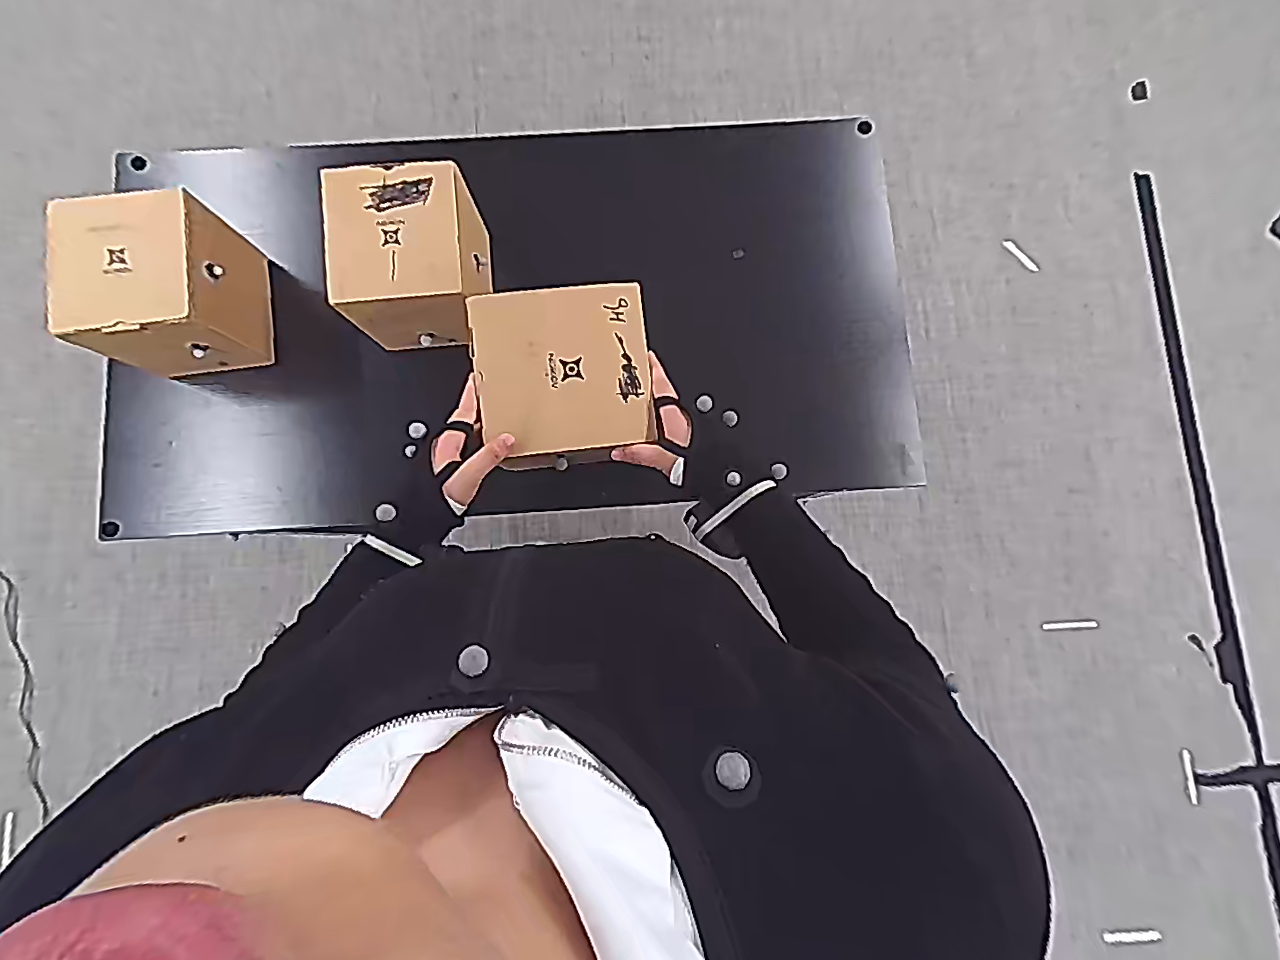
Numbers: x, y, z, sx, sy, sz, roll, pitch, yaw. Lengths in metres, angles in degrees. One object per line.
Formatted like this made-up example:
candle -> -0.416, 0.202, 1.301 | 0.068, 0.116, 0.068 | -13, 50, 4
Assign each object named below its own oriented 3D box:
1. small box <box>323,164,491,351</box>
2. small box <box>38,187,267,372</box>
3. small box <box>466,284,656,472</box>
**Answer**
small box -> -0.306, -0.293, 0.739 | 0.168, 0.176, 0.179 | -5, 84, -2
small box -> -0.636, -0.254, 0.726 | 0.168, 0.176, 0.179 | -8, 83, -4
small box -> -0.082, -0.102, 0.611 | 0.179, 0.176, 0.168 | -6, 87, -5
